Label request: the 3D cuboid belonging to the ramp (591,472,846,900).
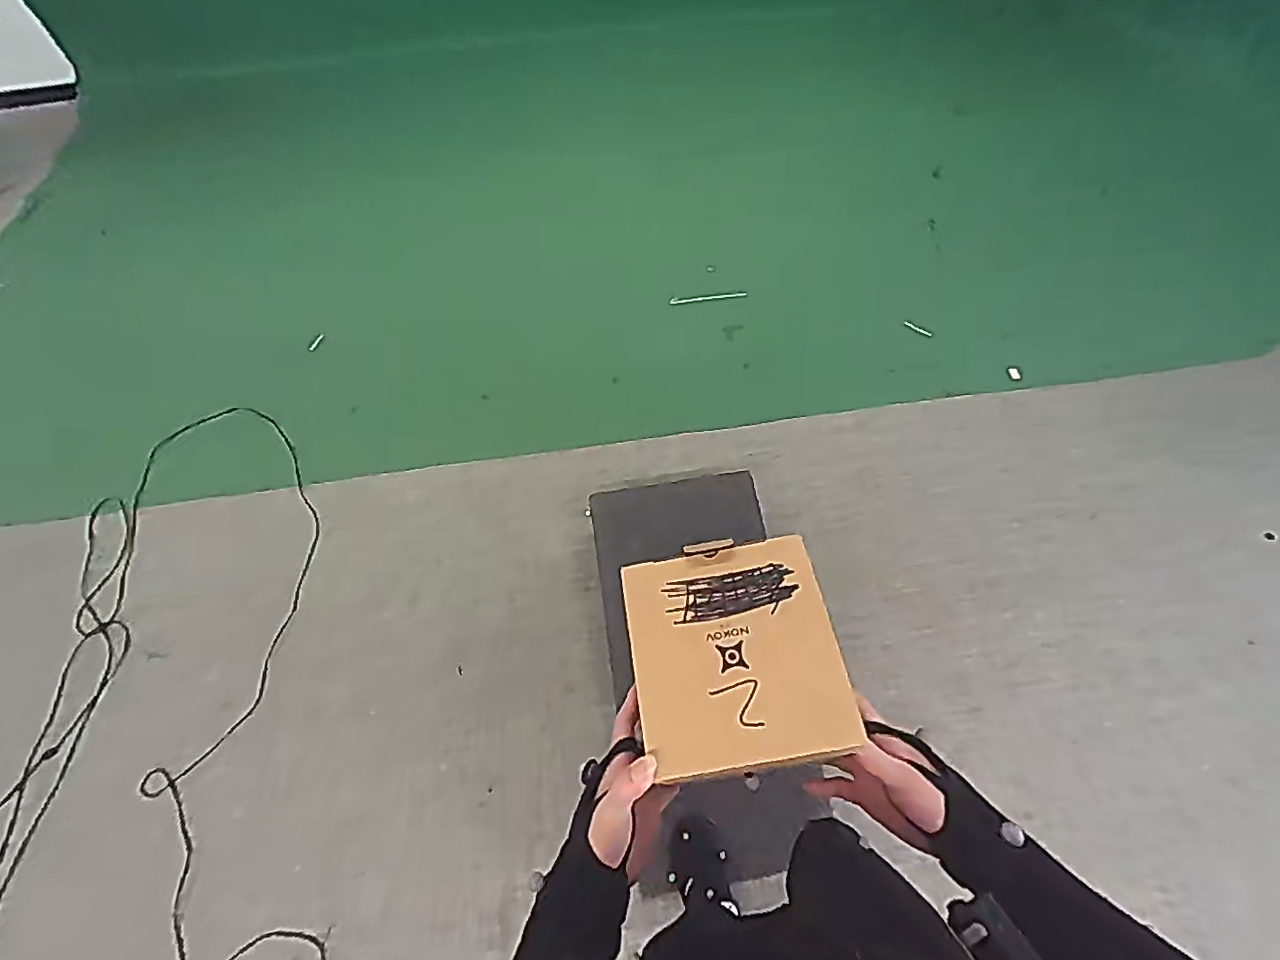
[{"bbox_3d":[0.174,0.475,1.429,0.509,0.206,0.991,-10,60,-4],"label":"ramp"}]
